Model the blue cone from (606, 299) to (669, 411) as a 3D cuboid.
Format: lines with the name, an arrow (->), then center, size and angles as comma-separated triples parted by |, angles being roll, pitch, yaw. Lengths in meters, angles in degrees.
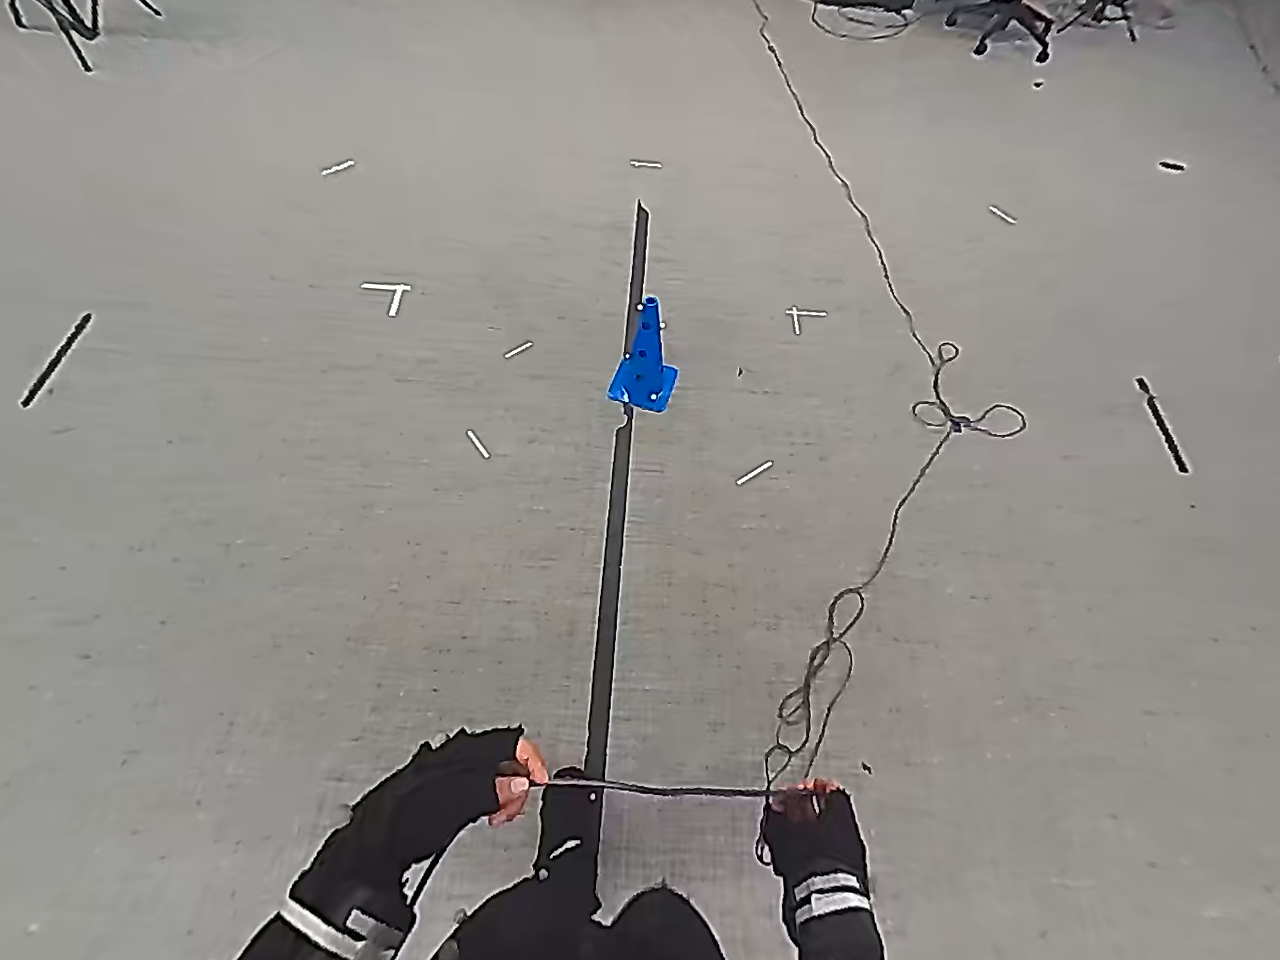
blue cone -> 0.002, -0.402, 1.686 | 0.192, 0.380, 0.193 | 18, 60, 7
